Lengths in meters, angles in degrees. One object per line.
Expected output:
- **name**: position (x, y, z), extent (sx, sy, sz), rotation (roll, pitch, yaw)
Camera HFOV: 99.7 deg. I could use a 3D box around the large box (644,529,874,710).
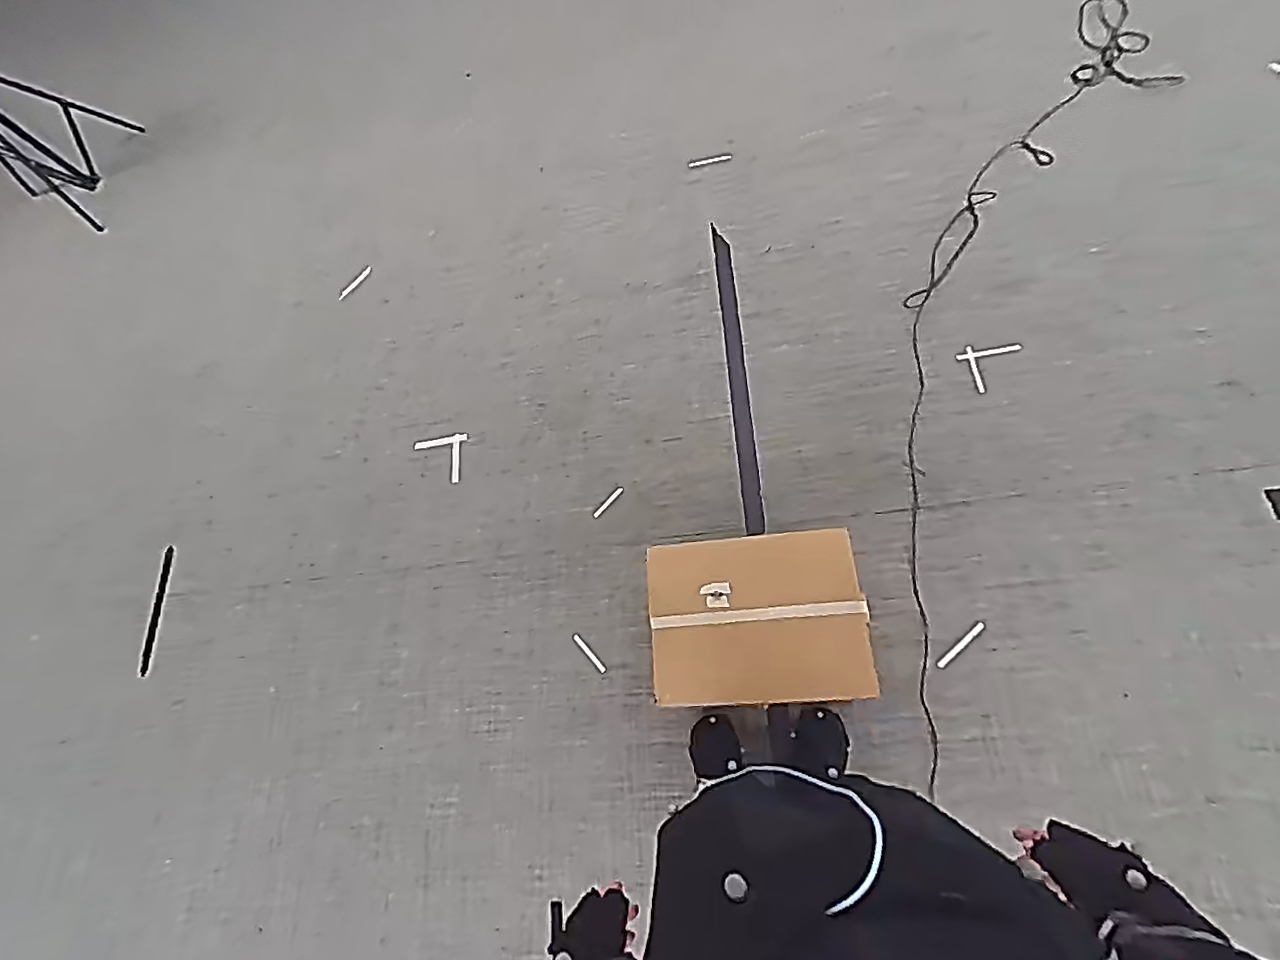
- **large box**: position (0.245, 0.314, 1.170), extent (0.408, 0.320, 0.320), rotation (-7, 68, 12)
